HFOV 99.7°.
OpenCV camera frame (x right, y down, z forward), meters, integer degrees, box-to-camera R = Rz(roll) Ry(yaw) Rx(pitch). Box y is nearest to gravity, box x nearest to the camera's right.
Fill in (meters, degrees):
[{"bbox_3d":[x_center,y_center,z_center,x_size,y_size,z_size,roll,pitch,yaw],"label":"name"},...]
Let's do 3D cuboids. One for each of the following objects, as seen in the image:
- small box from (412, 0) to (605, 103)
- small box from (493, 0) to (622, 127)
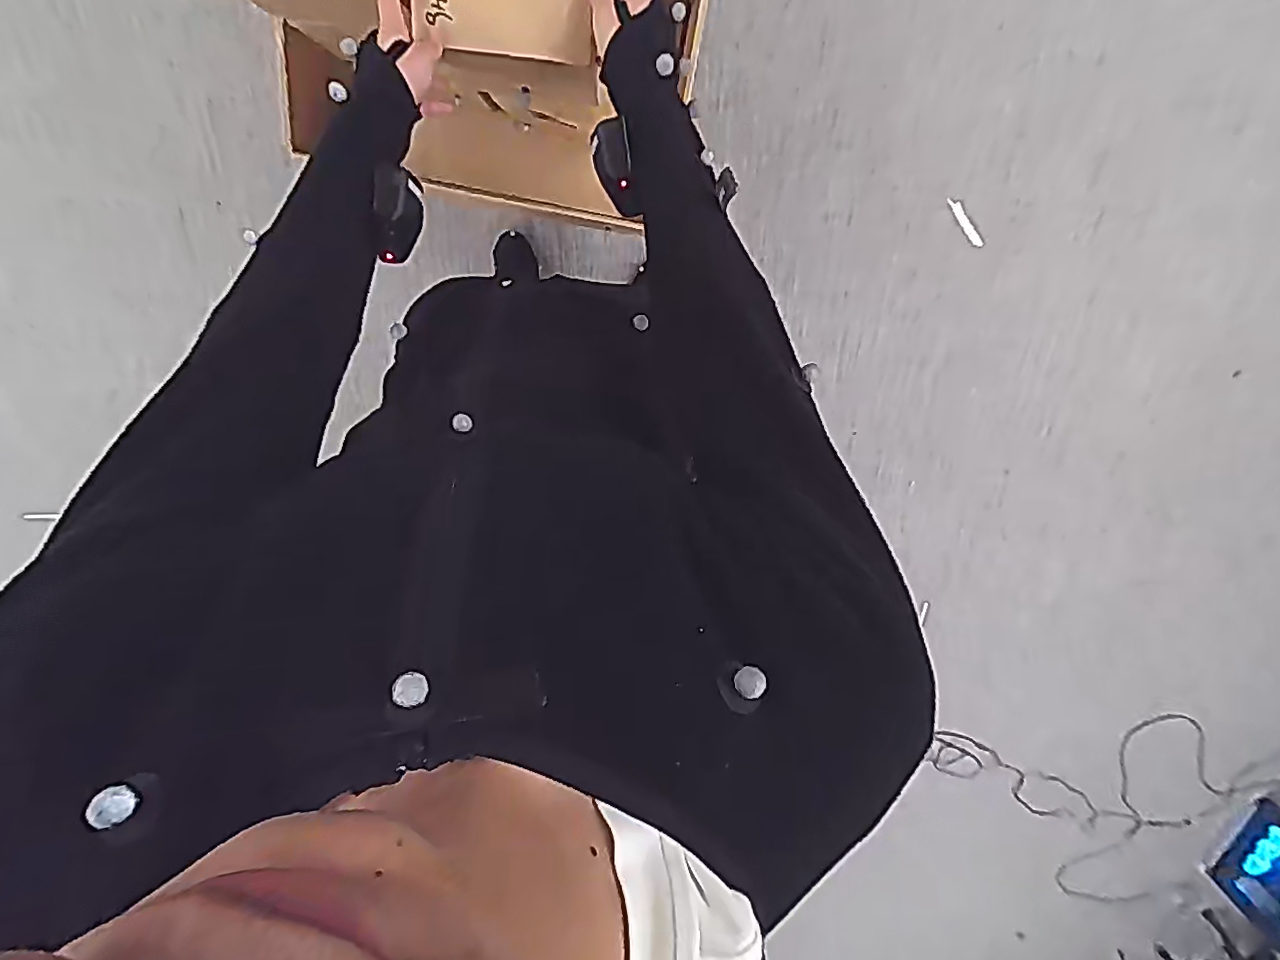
[{"bbox_3d":[-0.126,-0.517,0.567,0.179,0.176,0.168,5,113,-4],"label":"small box"},{"bbox_3d":[-0.119,-0.595,0.712,0.168,0.176,0.179,13,113,-6],"label":"small box"}]
